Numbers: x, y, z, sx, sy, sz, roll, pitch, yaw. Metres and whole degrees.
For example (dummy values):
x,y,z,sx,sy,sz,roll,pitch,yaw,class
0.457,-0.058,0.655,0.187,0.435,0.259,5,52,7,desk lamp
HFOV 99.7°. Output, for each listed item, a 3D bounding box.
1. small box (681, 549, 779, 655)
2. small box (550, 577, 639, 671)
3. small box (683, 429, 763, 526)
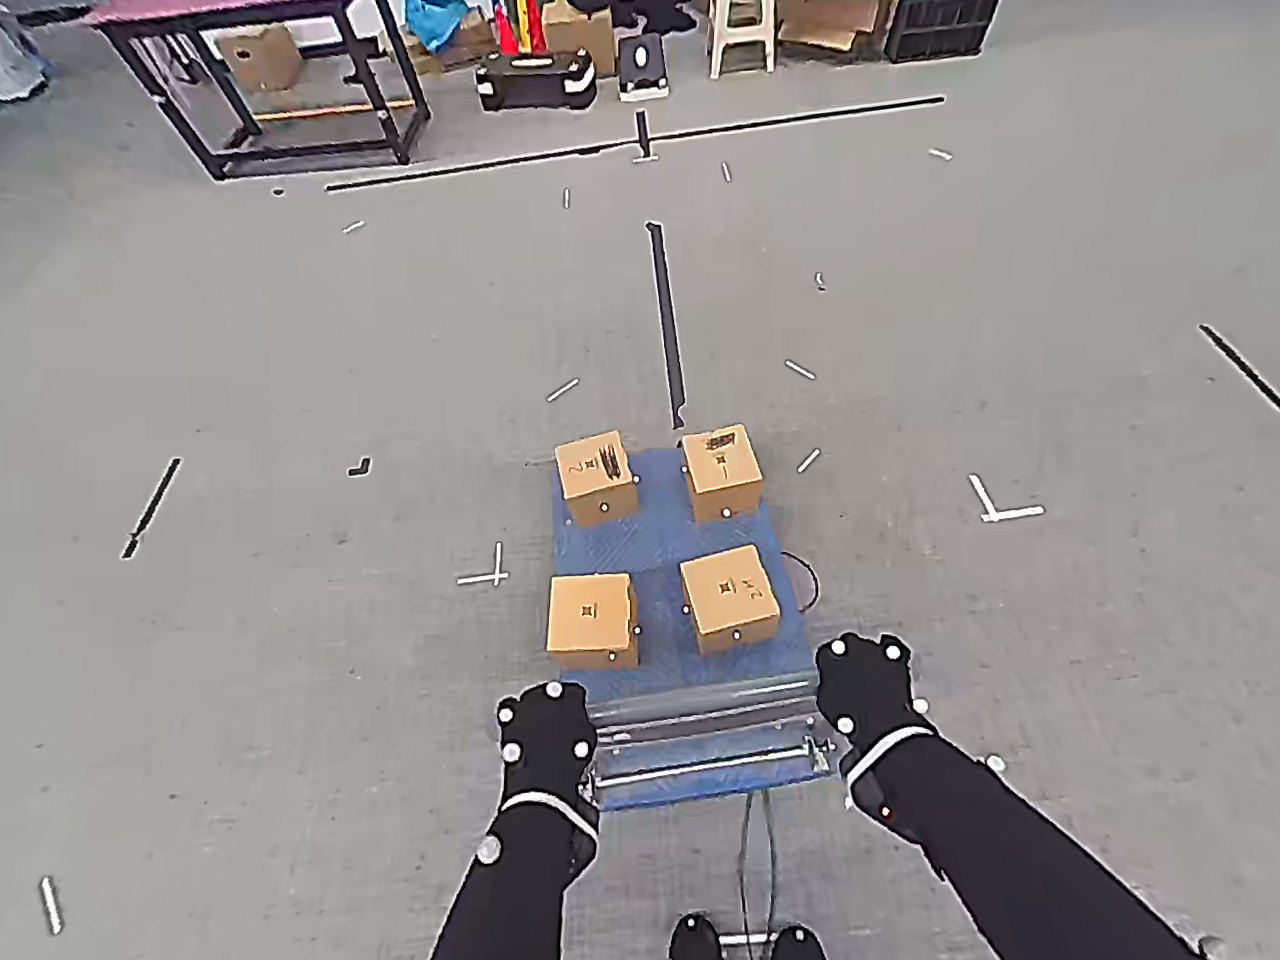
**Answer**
x,y,z,sx,sy,sz,roll,pitch,yaw,class
0.201,0.283,1.234,0.179,0.176,0.168,-14,57,-2,small box
-0.098,0.334,1.238,0.179,0.176,0.168,-4,57,3,small box
0.210,-0.004,1.417,0.168,0.176,0.179,-12,58,-1,small box
